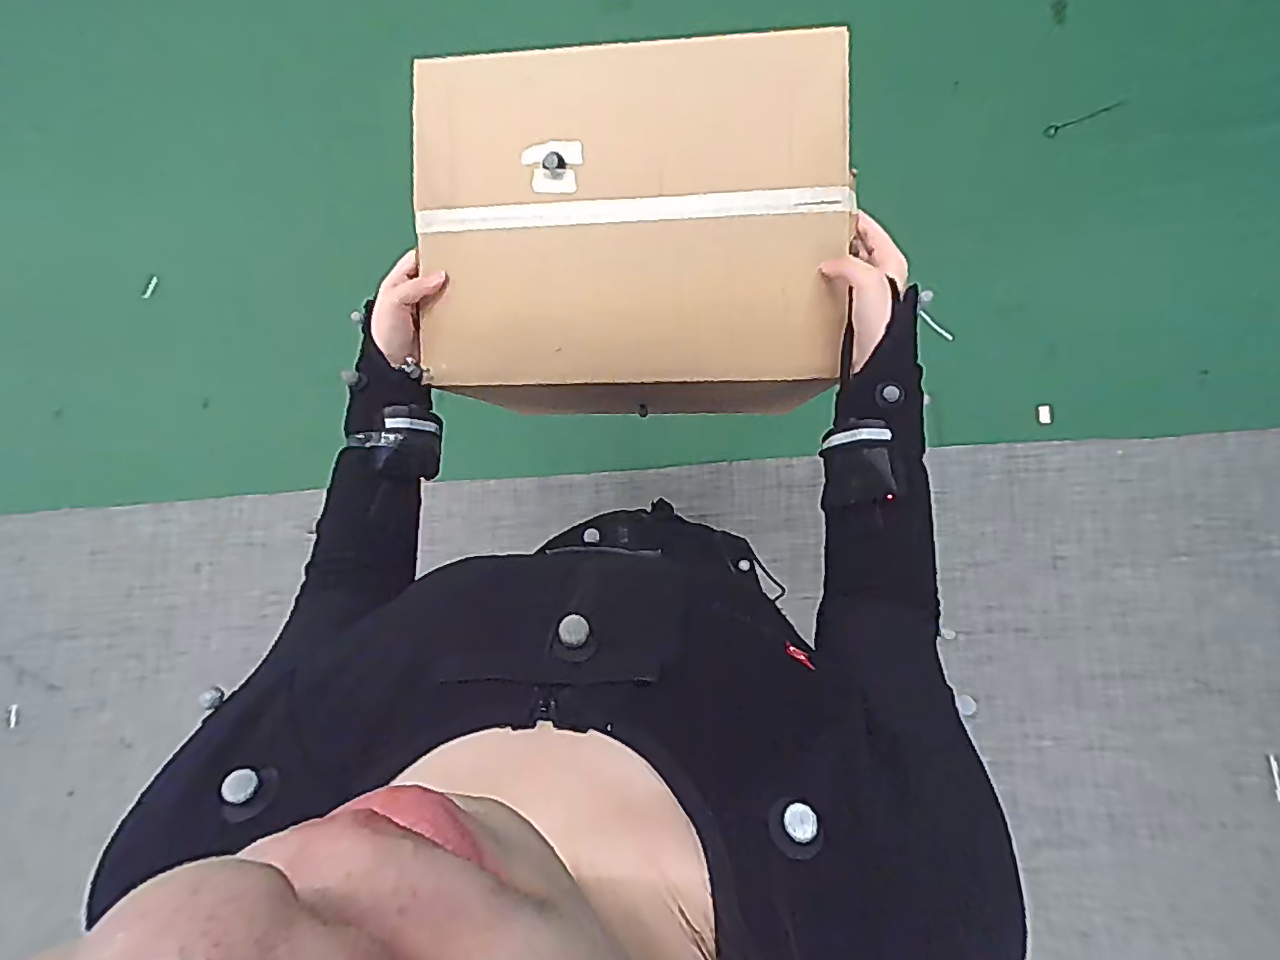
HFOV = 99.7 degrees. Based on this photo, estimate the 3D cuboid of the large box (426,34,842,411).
[{"bbox_3d":[0.007,-0.254,0.664,0.408,0.320,0.320,0,92,7],"label":"large box"}]
